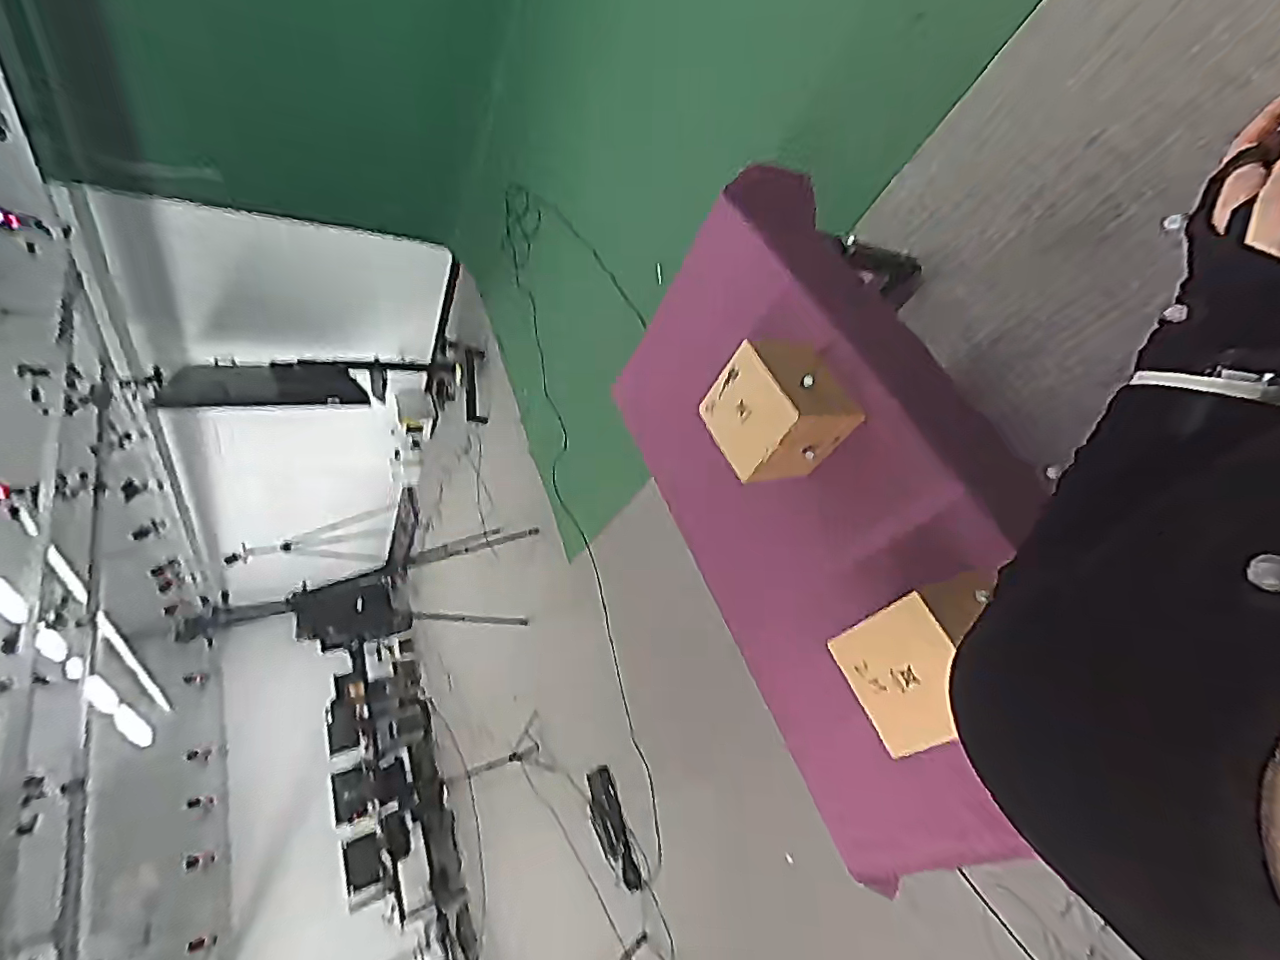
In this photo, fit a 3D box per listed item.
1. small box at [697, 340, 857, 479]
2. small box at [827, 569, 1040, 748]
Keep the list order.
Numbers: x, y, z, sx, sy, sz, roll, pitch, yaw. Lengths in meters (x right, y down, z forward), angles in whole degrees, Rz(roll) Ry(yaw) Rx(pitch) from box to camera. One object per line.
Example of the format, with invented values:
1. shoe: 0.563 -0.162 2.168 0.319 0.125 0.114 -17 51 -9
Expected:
1. small box: 0.238 -0.125 0.945 0.168 0.176 0.179 -56 51 43
2. small box: 0.407 0.241 0.748 0.179 0.176 0.168 -55 50 44
